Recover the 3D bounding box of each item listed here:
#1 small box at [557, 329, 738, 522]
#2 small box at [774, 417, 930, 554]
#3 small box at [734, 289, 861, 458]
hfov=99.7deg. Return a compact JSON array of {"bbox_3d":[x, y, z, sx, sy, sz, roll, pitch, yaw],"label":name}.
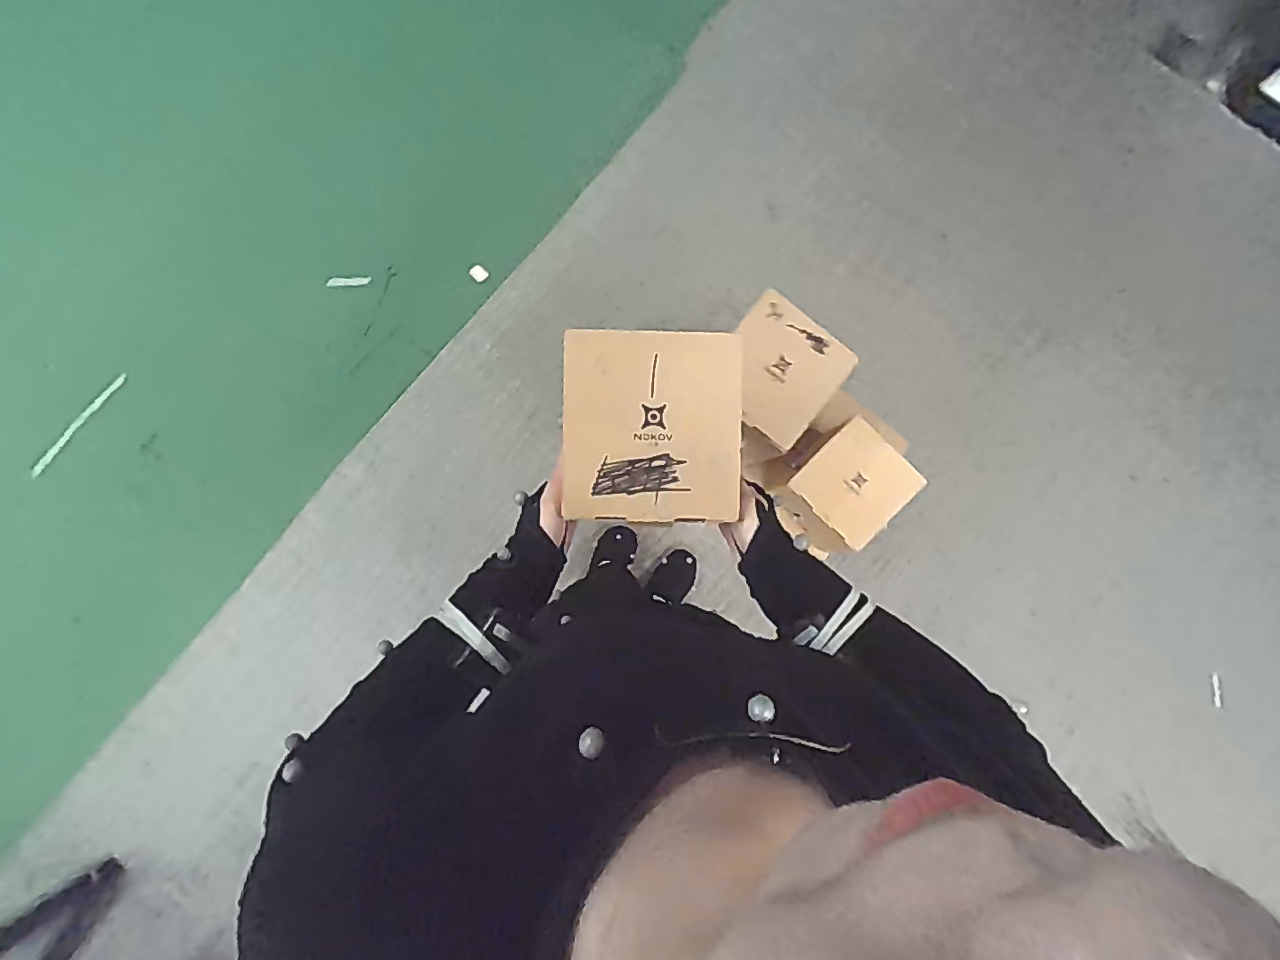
[{"bbox_3d":[0.006,-0.051,0.569,0.168,0.176,0.179,0,90,-2],"label":"small box"},{"bbox_3d":[0.370,0.015,0.982,0.179,0.176,0.168,-44,85,-4],"label":"small box"},{"bbox_3d":[0.194,-0.149,0.833,0.168,0.176,0.179,39,87,1],"label":"small box"}]
